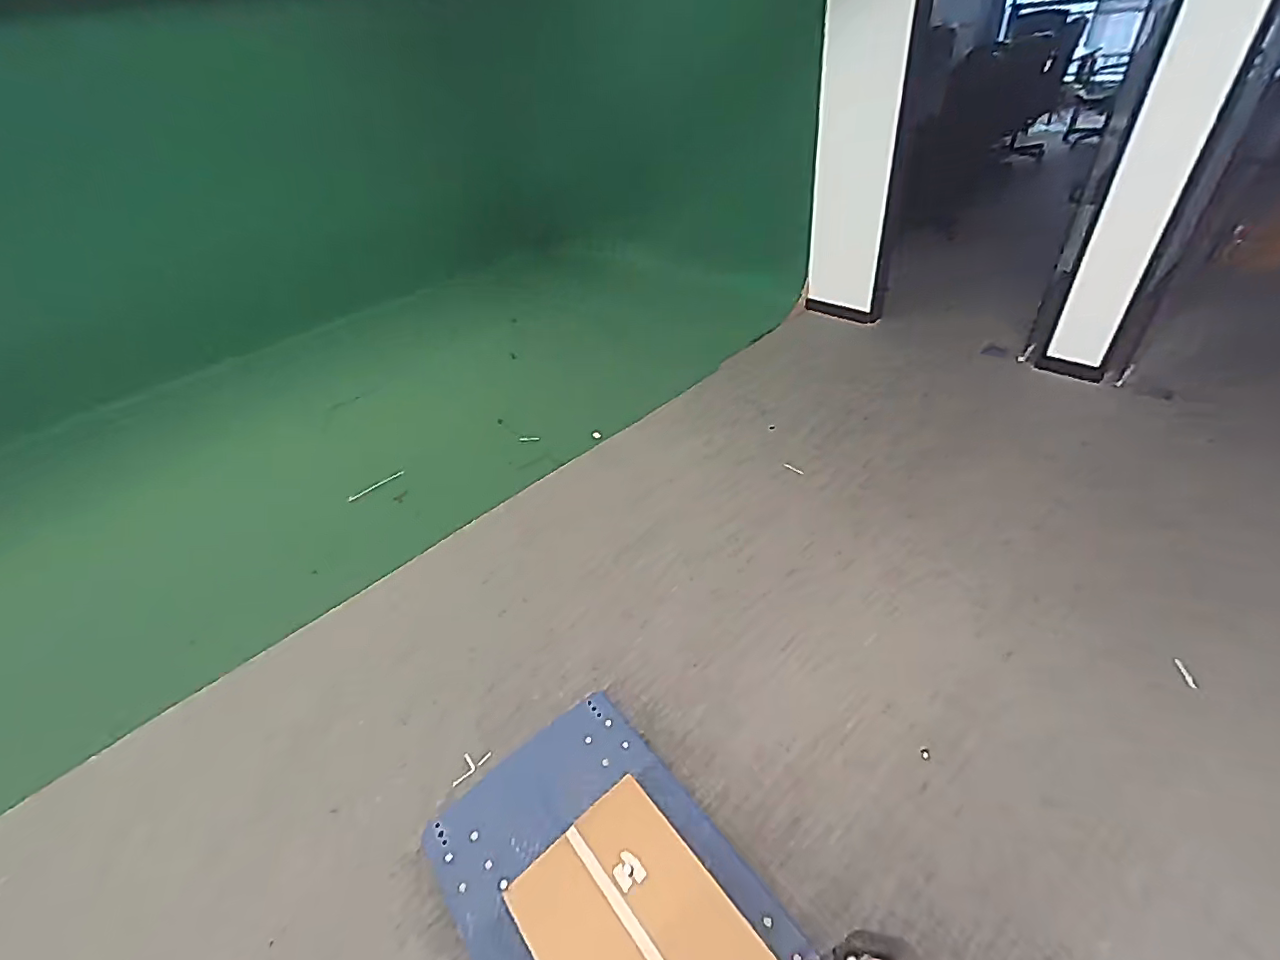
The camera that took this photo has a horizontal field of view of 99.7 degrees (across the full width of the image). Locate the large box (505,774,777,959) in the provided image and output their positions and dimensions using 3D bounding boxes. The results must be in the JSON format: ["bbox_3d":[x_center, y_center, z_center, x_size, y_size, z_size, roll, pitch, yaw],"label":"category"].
[{"bbox_3d":[0.010,0.887,1.043,0.320,0.320,0.408,-32,45,-25],"label":"large box"}]
